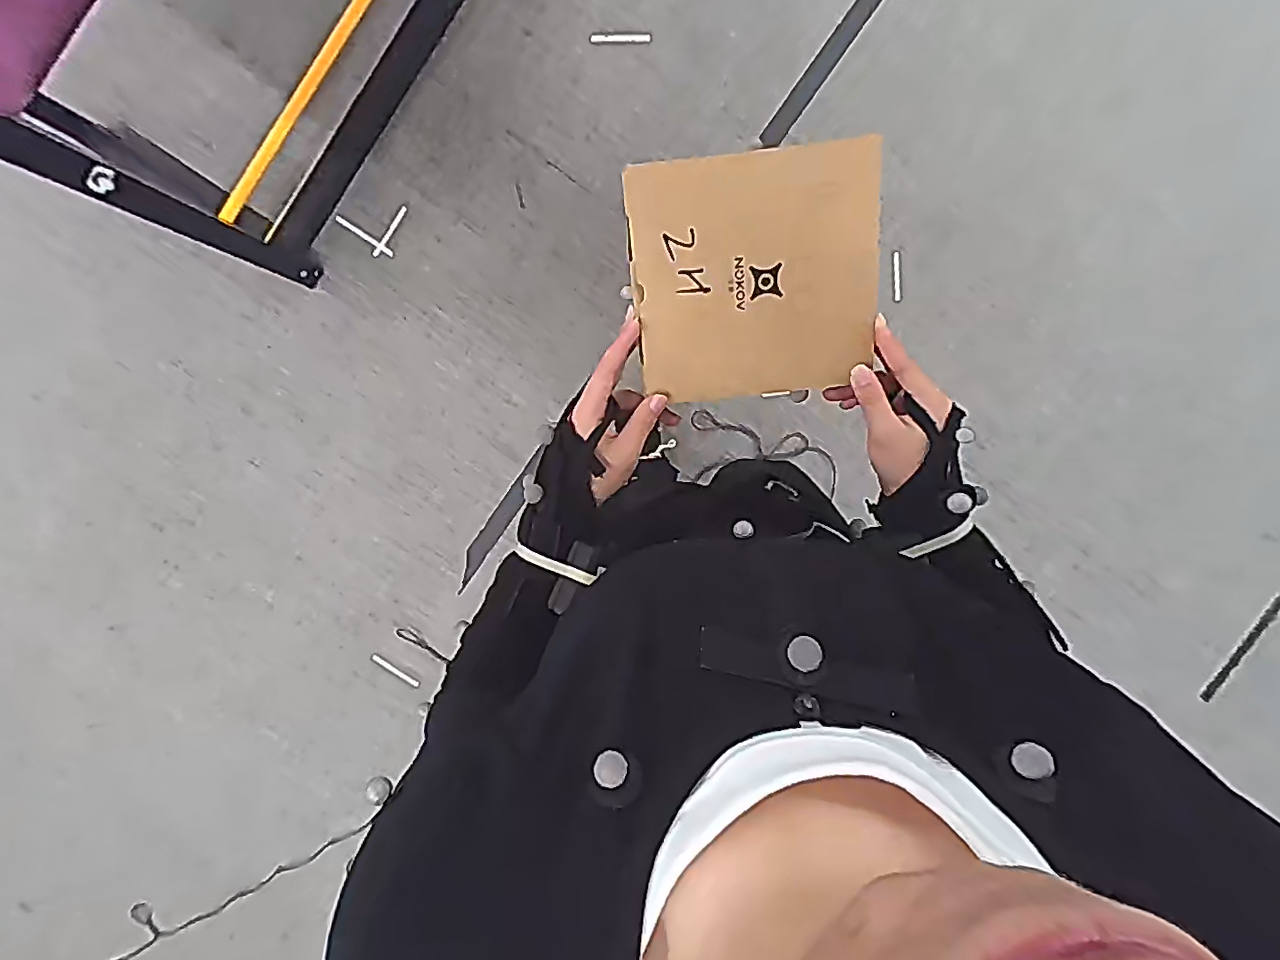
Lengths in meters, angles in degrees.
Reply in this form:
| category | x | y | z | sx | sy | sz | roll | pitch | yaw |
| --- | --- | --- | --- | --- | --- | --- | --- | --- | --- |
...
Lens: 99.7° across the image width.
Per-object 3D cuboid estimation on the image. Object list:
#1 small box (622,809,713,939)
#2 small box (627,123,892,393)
| category | x | y | z | sx | sy | sz | roll | pitch | yaw |
| --- | --- | --- | --- | --- | --- | --- | --- | --- | --- |
| small box | 0.067 | 1.004 | 1.390 | 0.168 | 0.176 | 0.179 | 28 | 94 | -5 |
| small box | 0.085 | -0.175 | 0.453 | 0.179 | 0.176 | 0.168 | -5 | 109 | 4 |
